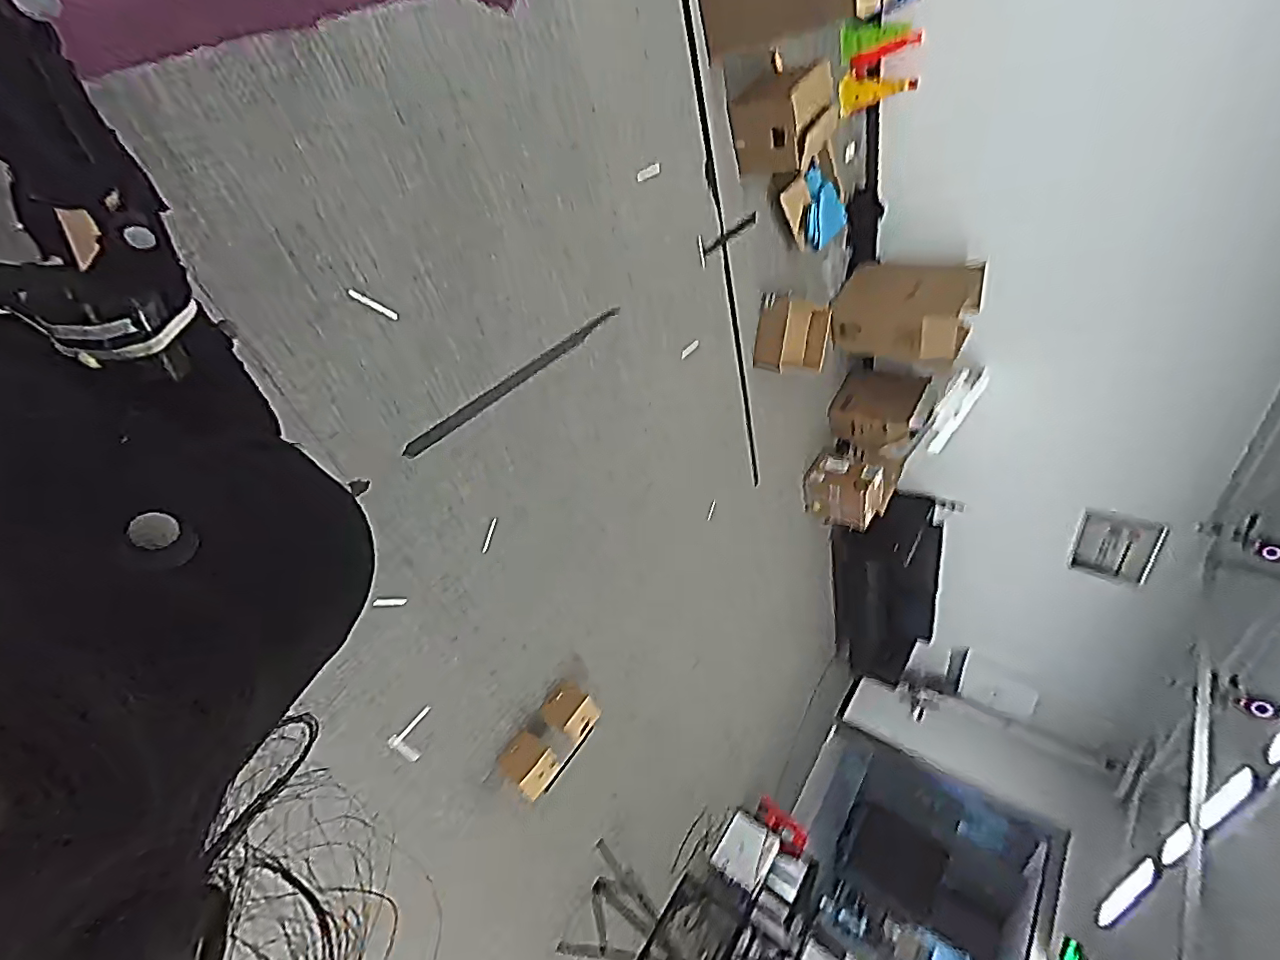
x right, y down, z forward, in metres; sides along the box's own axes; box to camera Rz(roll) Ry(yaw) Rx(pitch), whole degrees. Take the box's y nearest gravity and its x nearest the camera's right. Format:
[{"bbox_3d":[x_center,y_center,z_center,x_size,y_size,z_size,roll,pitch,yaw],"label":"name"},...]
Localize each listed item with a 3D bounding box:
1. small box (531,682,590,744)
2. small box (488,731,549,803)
[{"bbox_3d":[-0.360,1.050,2.451,0.168,0.176,0.179,-47,136,-32],"label":"small box"},{"bbox_3d":[-0.524,1.217,2.302,0.179,0.176,0.168,-43,134,-34],"label":"small box"}]
